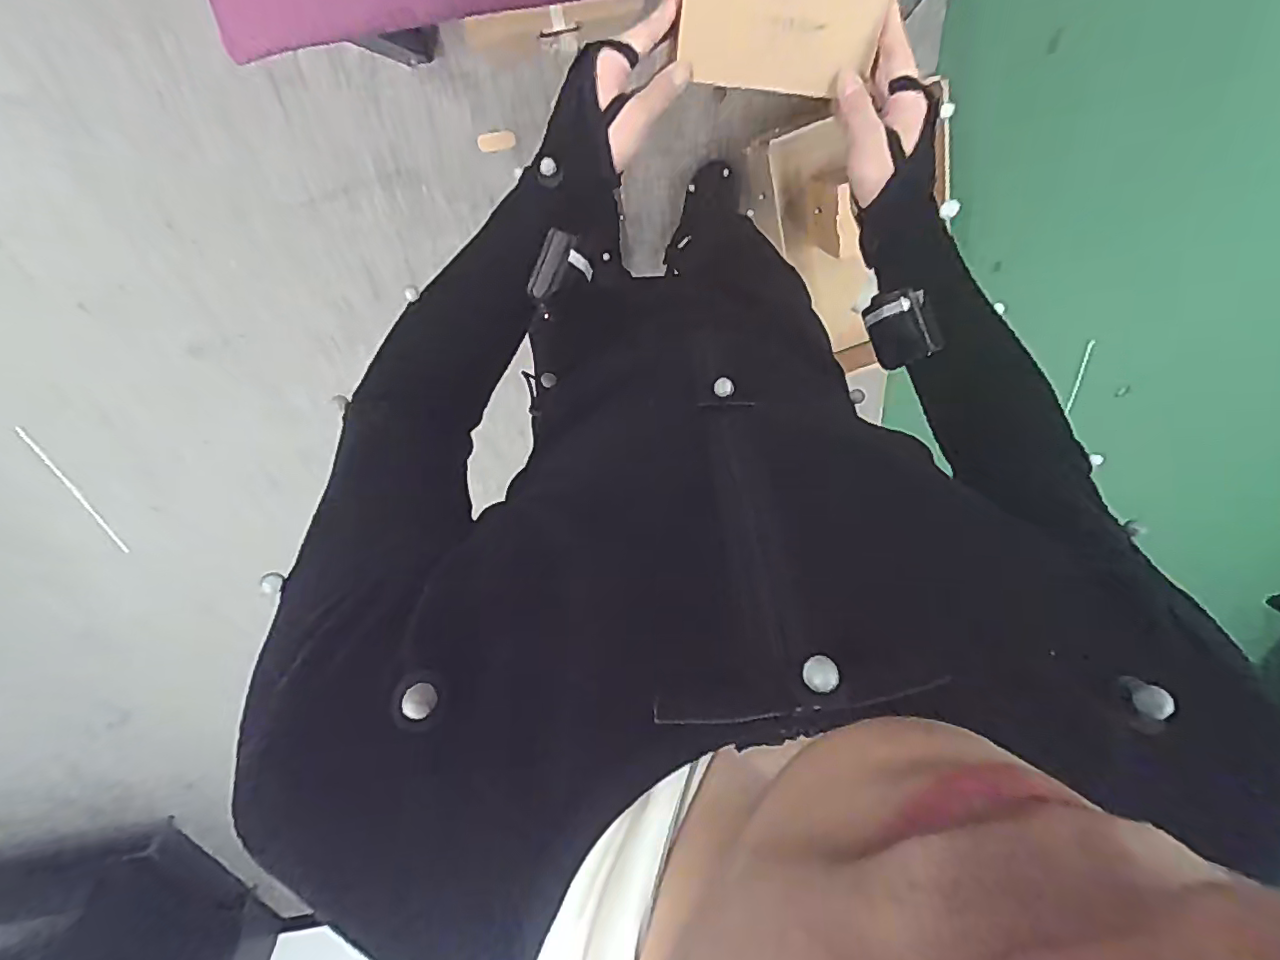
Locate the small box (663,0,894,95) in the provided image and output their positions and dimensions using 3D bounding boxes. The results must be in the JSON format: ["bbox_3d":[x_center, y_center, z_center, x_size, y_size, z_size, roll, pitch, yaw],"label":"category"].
[{"bbox_3d":[0.115,-0.448,0.462,0.168,0.176,0.179,2,128,-6],"label":"small box"}]

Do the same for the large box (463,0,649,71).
[{"bbox_3d":[-0.182,-1.019,0.957,0.320,0.320,0.408,-12,122,0],"label":"large box"}]
